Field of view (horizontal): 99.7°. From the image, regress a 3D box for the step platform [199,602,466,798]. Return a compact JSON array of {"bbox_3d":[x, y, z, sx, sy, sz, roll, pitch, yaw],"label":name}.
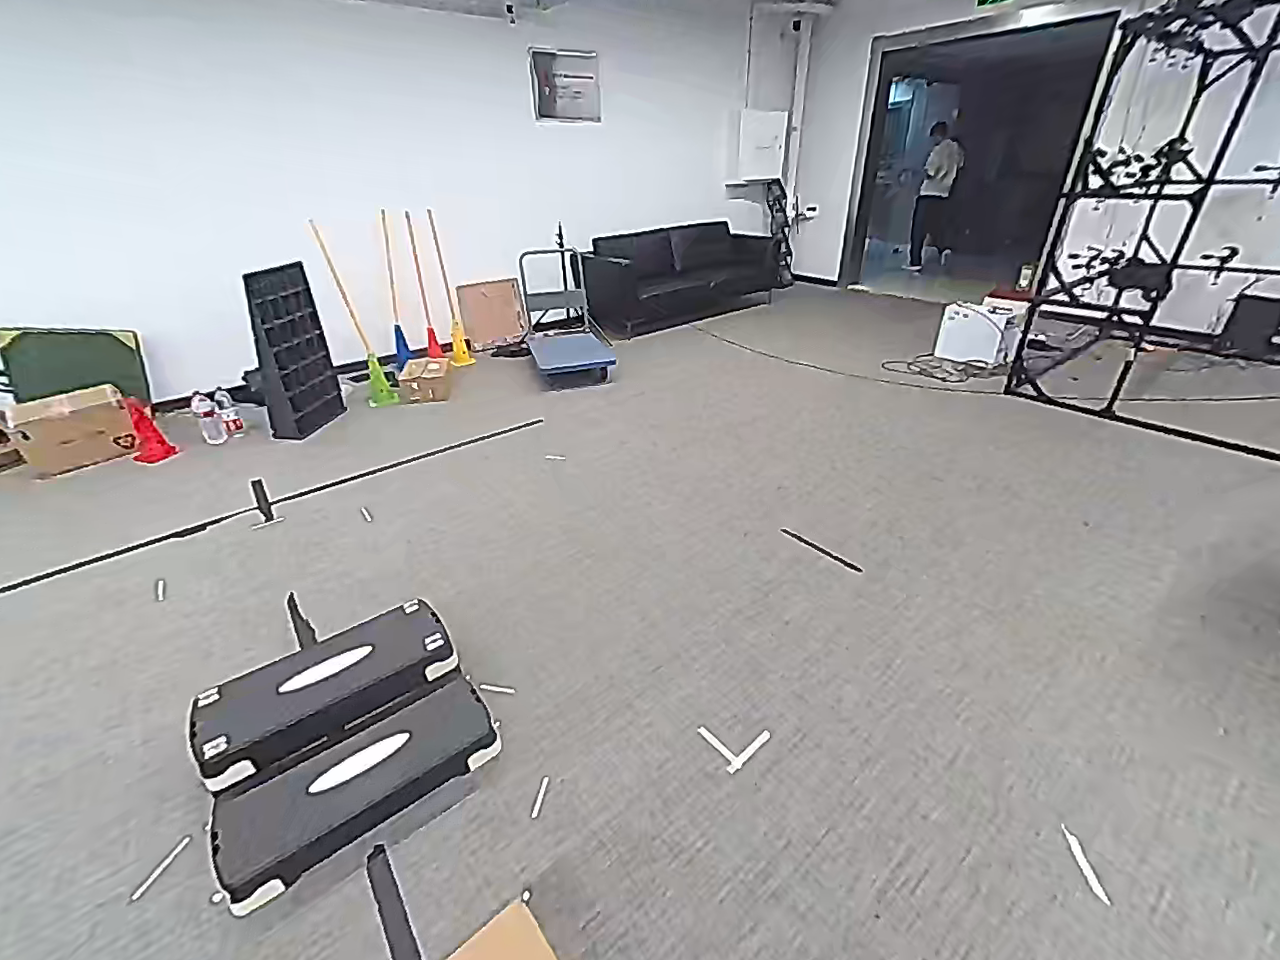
[{"bbox_3d":[-0.904,0.631,1.642,0.684,0.204,0.286,-19,34,-28],"label":"step platform"}]
